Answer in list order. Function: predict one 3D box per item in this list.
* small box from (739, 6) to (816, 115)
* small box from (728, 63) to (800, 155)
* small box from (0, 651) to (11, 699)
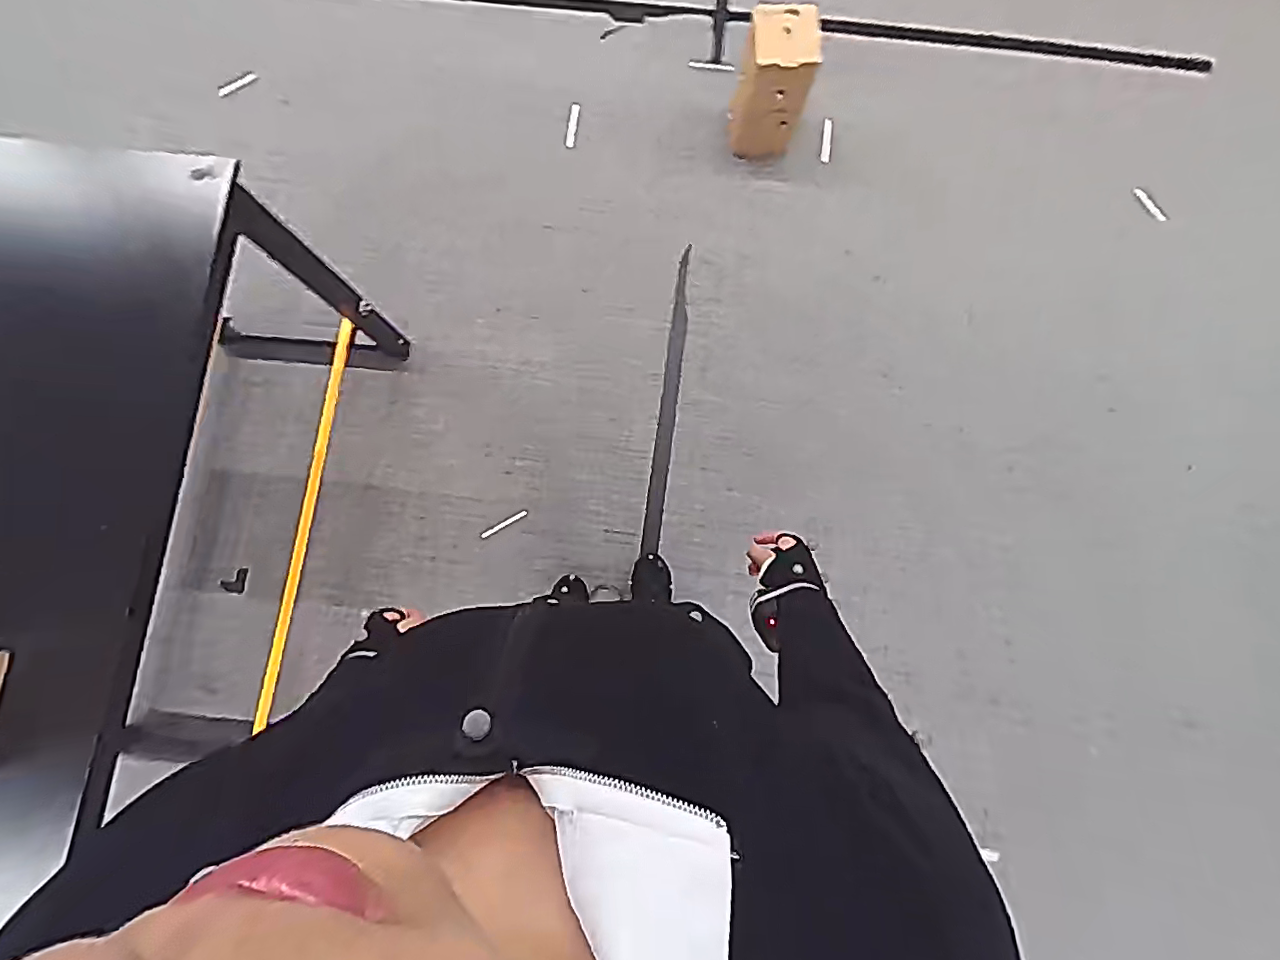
[{"bbox_3d":[0.366,-1.126,1.463,0.168,0.176,0.179,-1,82,-1],"label":"small box"},{"bbox_3d":[0.368,-1.110,1.626,0.179,0.176,0.168,0,81,0],"label":"small box"},{"bbox_3d":[-0.980,0.301,0.673,0.179,0.176,0.168,6,82,0],"label":"small box"}]
